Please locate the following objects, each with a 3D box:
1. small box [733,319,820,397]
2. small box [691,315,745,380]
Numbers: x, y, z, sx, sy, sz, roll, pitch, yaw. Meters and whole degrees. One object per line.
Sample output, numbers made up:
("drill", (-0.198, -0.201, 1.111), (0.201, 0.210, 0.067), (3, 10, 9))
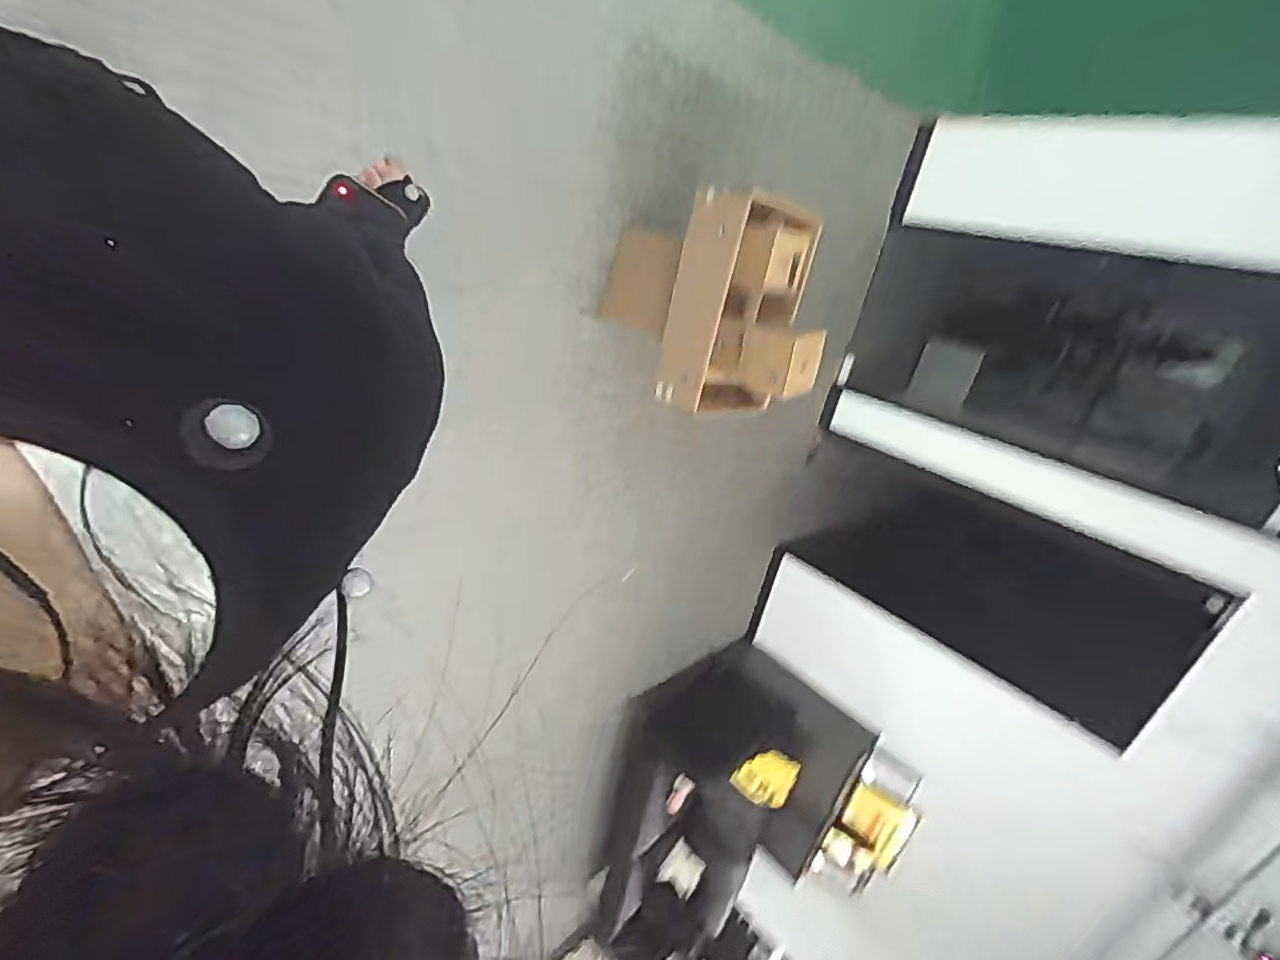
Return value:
("small box", (0.391, -0.361, 1.574), (0.168, 0.176, 0.179), (-21, 127, -40))
("small box", (0.290, -0.411, 1.700), (0.179, 0.176, 0.168), (3, 111, -48))
